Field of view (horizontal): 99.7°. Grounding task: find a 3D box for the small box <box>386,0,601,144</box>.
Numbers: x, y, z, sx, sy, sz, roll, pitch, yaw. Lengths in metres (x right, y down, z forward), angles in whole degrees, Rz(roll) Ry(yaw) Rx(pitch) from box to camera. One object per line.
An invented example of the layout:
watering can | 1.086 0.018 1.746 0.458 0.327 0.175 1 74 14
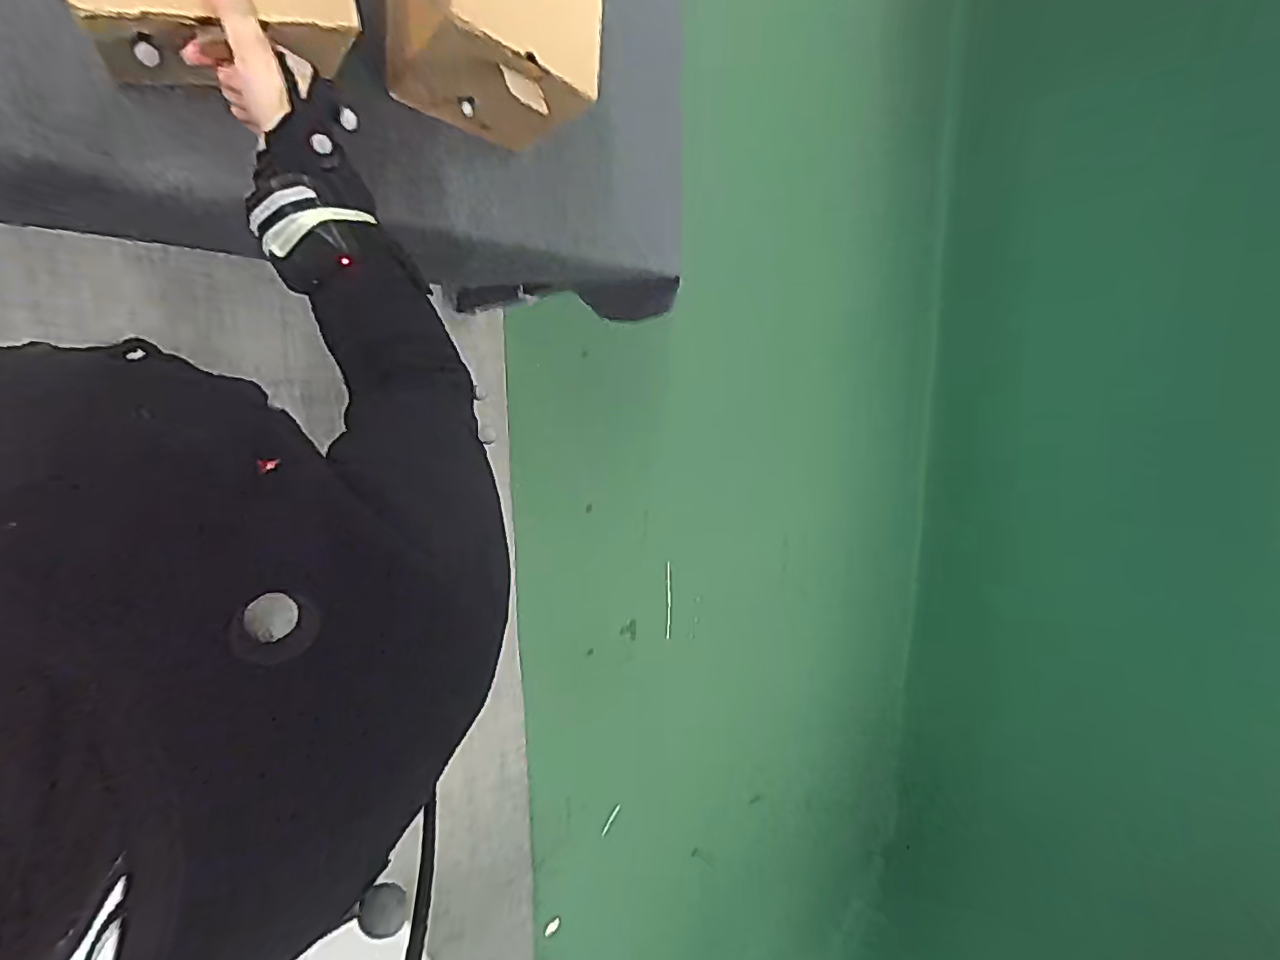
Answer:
small box | -0.158 -0.502 0.575 0.168 0.176 0.179 -3 98 -44
